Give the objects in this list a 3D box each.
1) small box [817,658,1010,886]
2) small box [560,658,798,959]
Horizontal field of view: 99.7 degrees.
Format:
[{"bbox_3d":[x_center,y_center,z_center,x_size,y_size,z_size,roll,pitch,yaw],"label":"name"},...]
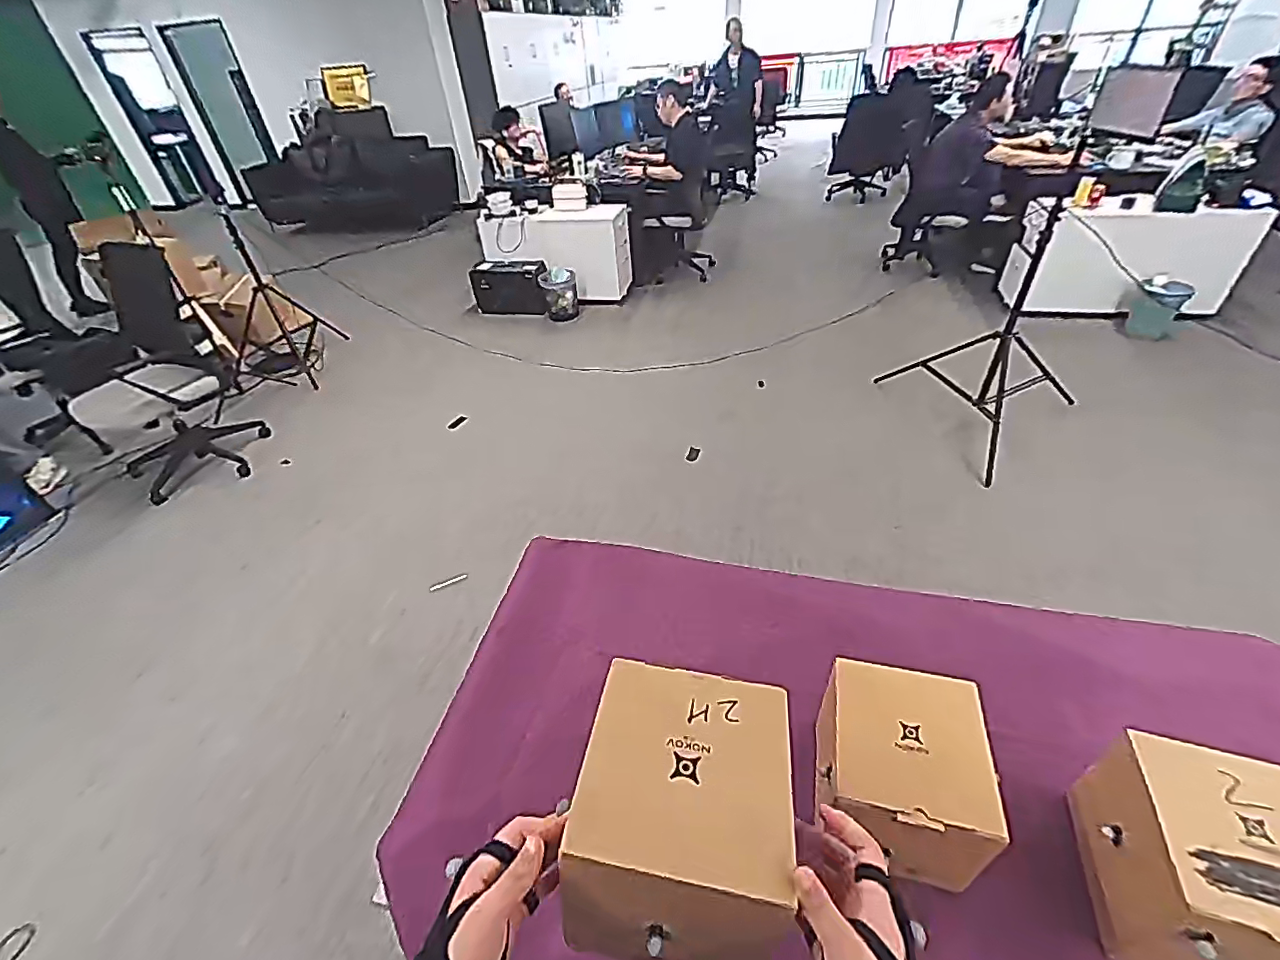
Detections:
[{"bbox_3d":[0.315,0.354,0.664,0.168,0.176,0.179,6,40,14],"label":"small box"},{"bbox_3d":[0.037,0.293,0.474,0.168,0.176,0.179,9,31,8],"label":"small box"}]
